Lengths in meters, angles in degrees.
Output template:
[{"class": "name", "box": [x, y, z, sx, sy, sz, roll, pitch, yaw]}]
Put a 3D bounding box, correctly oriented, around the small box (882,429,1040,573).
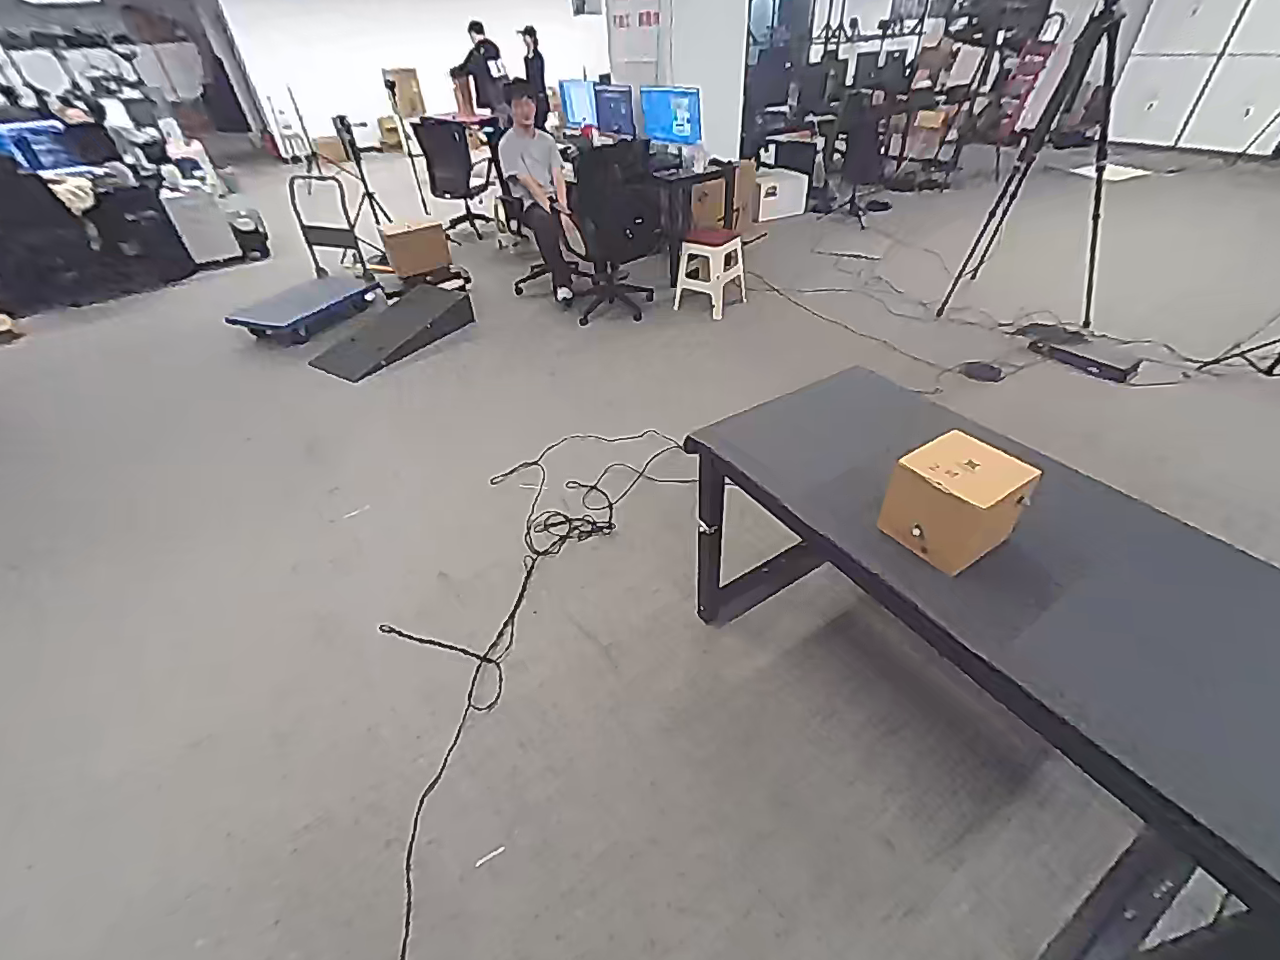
[{"class": "small box", "box": [0.580, 0.037, 1.002, 0.179, 0.176, 0.168, -24, 43, -23]}]
